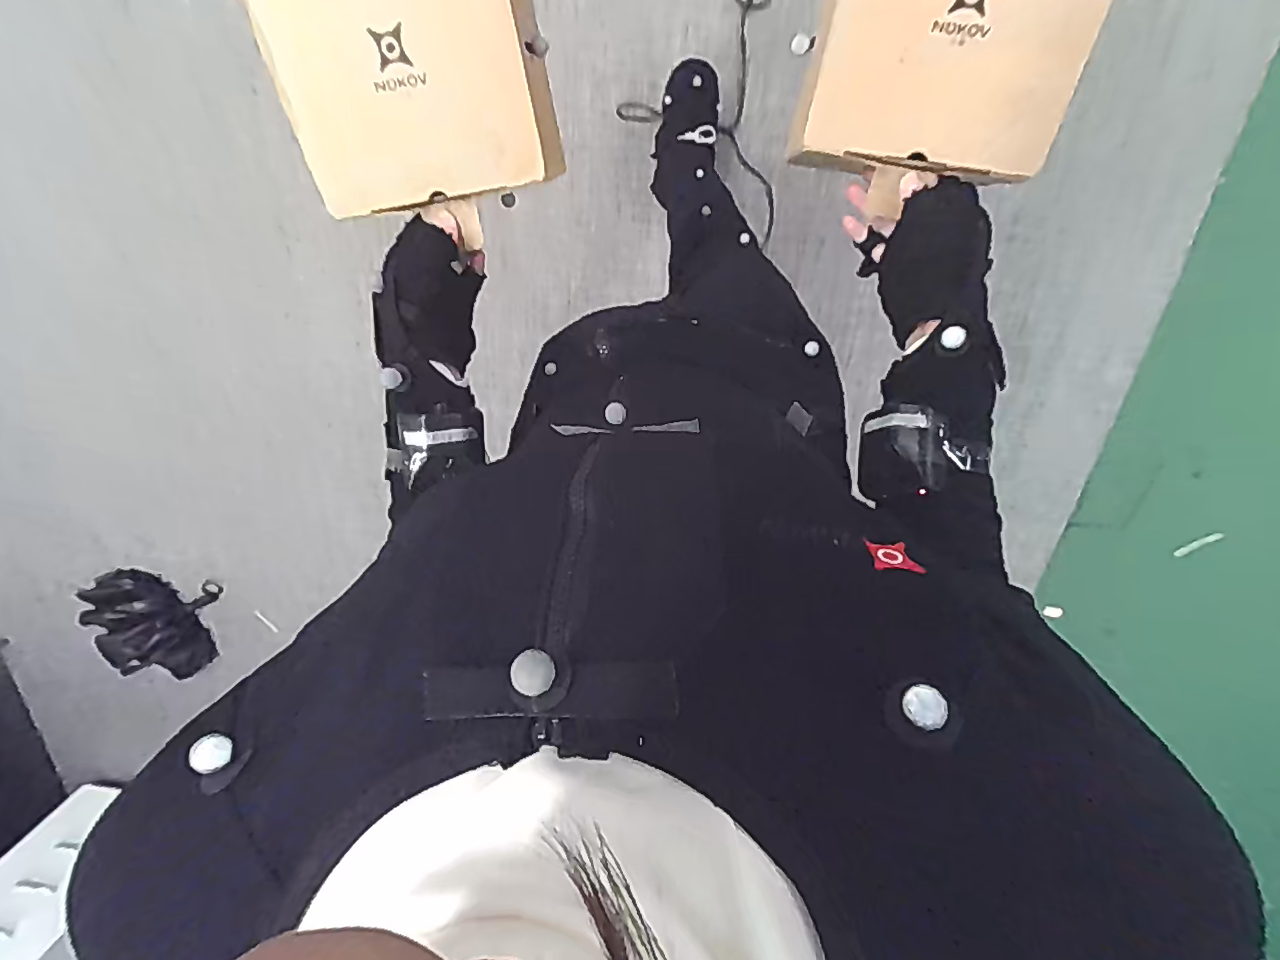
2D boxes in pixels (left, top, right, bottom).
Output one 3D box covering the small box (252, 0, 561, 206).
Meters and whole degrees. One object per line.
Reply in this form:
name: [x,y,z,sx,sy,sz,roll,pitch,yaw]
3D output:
small box: [-0.162,-0.329,0.420,0.168,0.176,0.179,-10,121,2]
